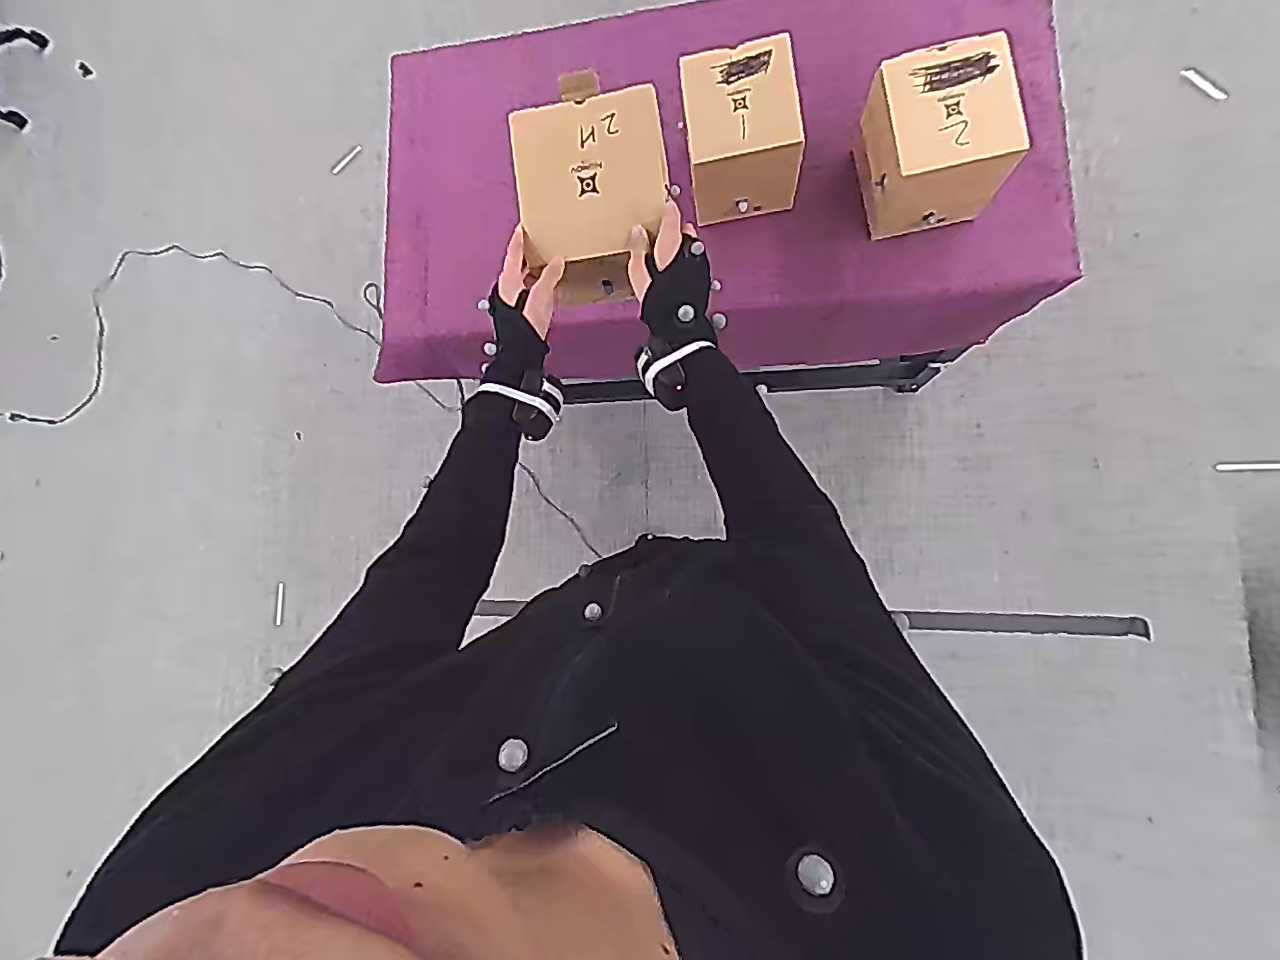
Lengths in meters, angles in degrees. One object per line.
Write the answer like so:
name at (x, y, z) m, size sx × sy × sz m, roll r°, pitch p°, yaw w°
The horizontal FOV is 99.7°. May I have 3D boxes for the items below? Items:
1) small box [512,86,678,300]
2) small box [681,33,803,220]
small box at (-0.046, -0.339, 0.682) m, size 0.168 × 0.176 × 0.179 m, roll -6°, pitch 90°, yaw 8°
small box at (0.161, -0.562, 0.881) m, size 0.168 × 0.176 × 0.179 m, roll -7°, pitch 83°, yaw 9°
